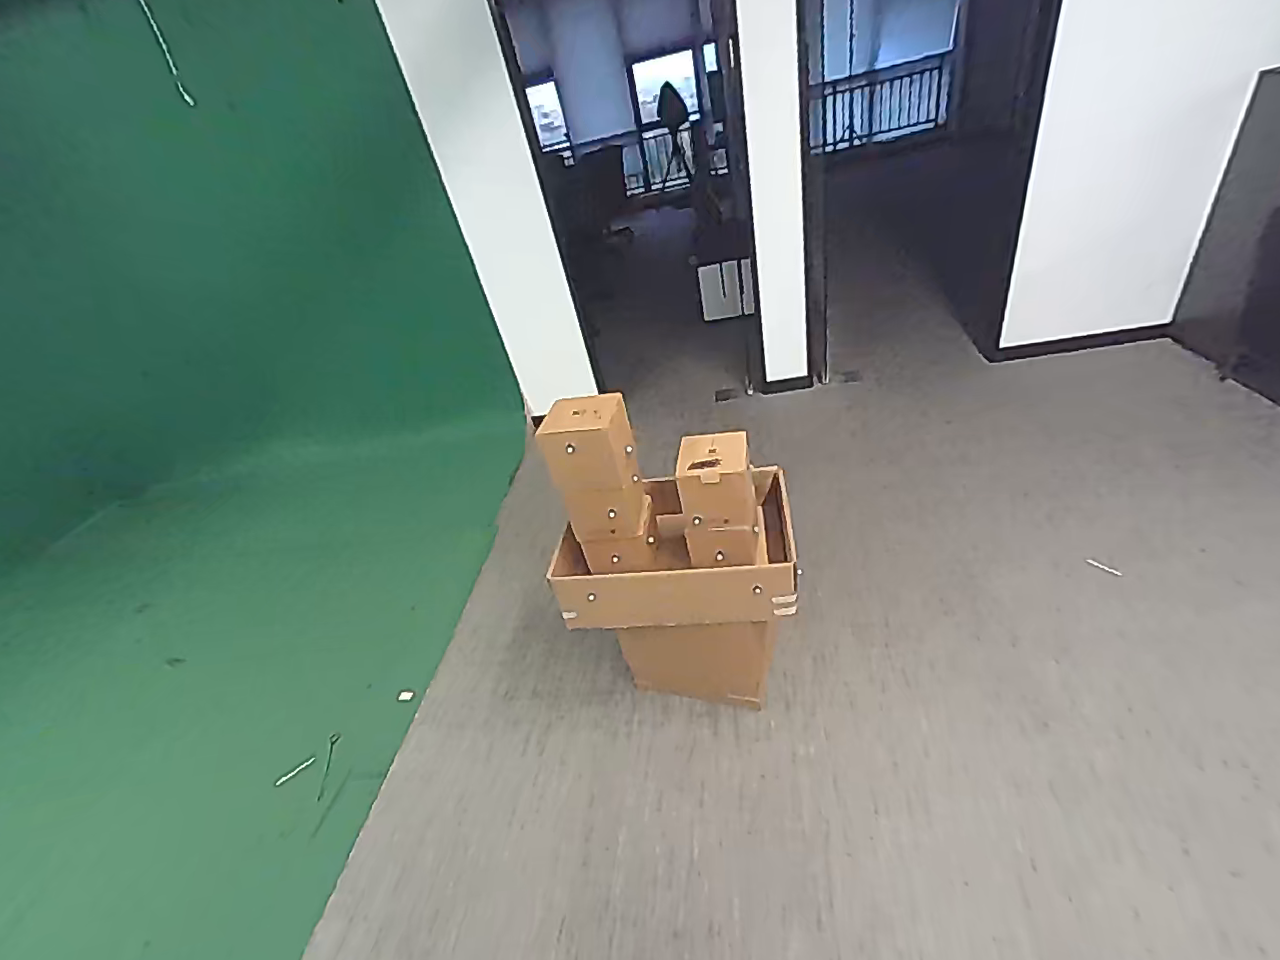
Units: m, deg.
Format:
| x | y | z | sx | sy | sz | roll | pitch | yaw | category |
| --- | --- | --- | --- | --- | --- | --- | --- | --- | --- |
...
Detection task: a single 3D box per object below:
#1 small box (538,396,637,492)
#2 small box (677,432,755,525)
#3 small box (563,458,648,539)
| x | y | z | sx | sy | sz | roll | pitch | yaw | category |
| --- | --- | --- | --- | --- | --- | --- | --- | --- | --- |
| -0.120 | -0.084 | 1.313 | 0.179 | 0.176 | 0.168 | -4 | 37 | 16 | small box |
| 0.197 | 0.002 | 1.357 | 0.168 | 0.176 | 0.179 | -5 | 35 | 15 | small box |
| -0.081 | 0.042 | 1.412 | 0.168 | 0.176 | 0.179 | -6 | 35 | 13 | small box |
